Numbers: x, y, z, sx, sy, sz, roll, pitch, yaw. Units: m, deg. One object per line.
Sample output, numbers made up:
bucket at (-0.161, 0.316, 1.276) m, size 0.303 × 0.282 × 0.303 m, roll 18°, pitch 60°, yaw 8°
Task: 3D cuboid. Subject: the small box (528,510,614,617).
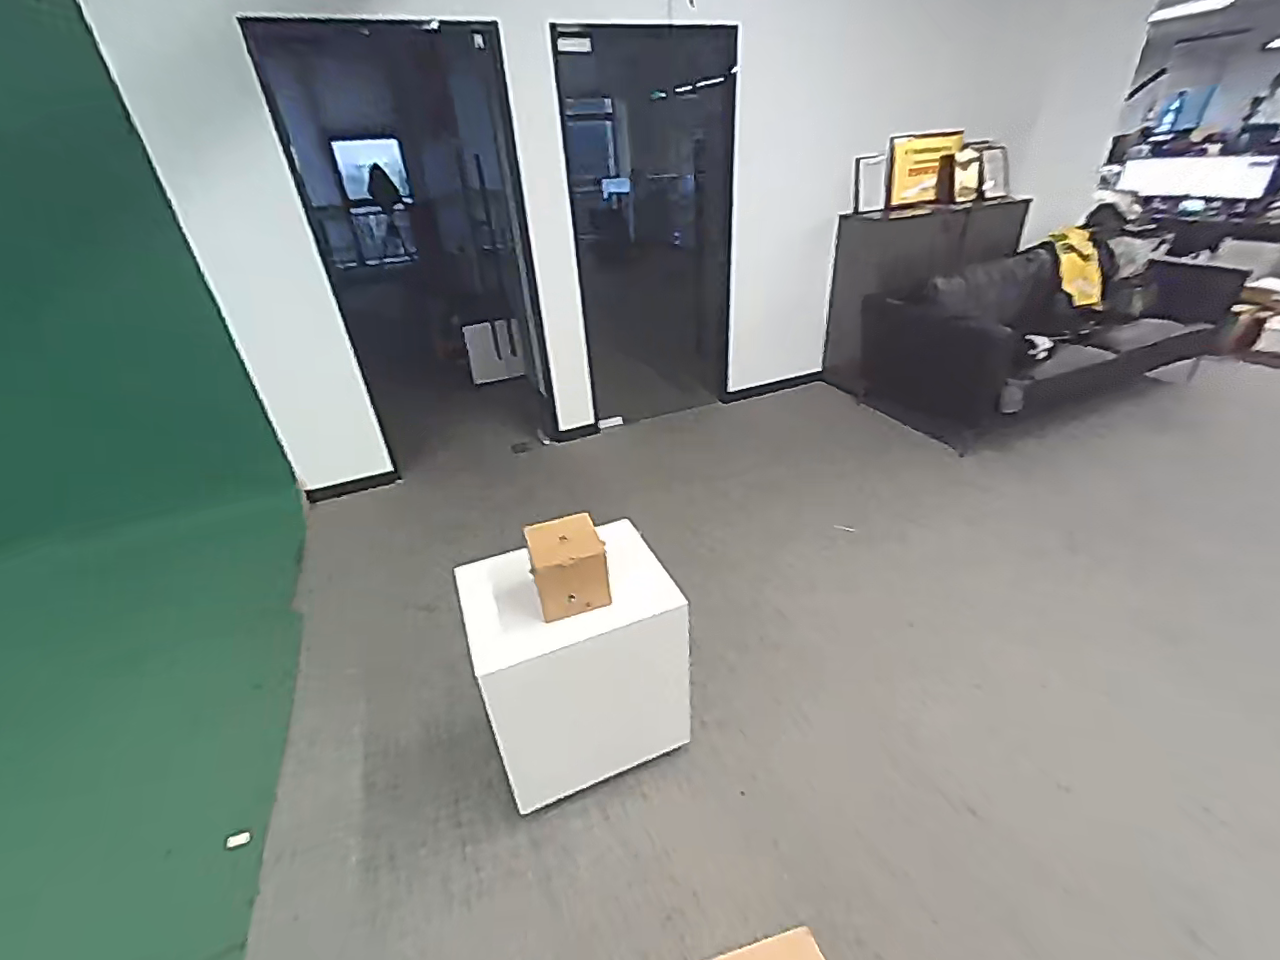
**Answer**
small box at (-0.169, 0.202, 1.320) m, size 0.168 × 0.176 × 0.179 m, roll -14°, pitch 33°, yaw -15°
